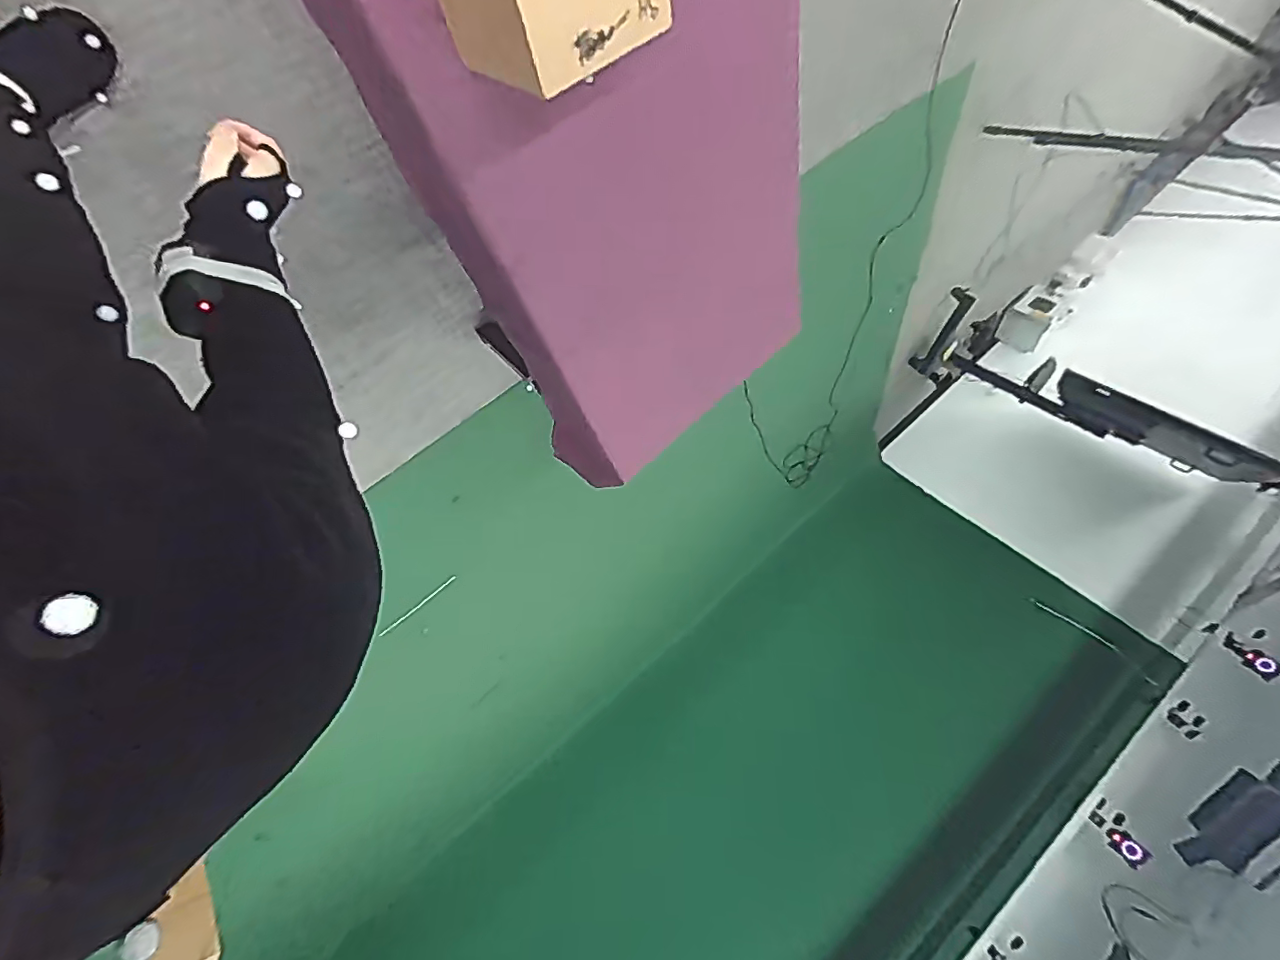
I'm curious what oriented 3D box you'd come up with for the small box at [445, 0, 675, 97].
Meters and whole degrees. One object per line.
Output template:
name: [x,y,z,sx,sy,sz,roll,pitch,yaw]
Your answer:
small box: [-0.093,-0.501,0.502,0.168,0.176,0.179,-38,147,-12]
